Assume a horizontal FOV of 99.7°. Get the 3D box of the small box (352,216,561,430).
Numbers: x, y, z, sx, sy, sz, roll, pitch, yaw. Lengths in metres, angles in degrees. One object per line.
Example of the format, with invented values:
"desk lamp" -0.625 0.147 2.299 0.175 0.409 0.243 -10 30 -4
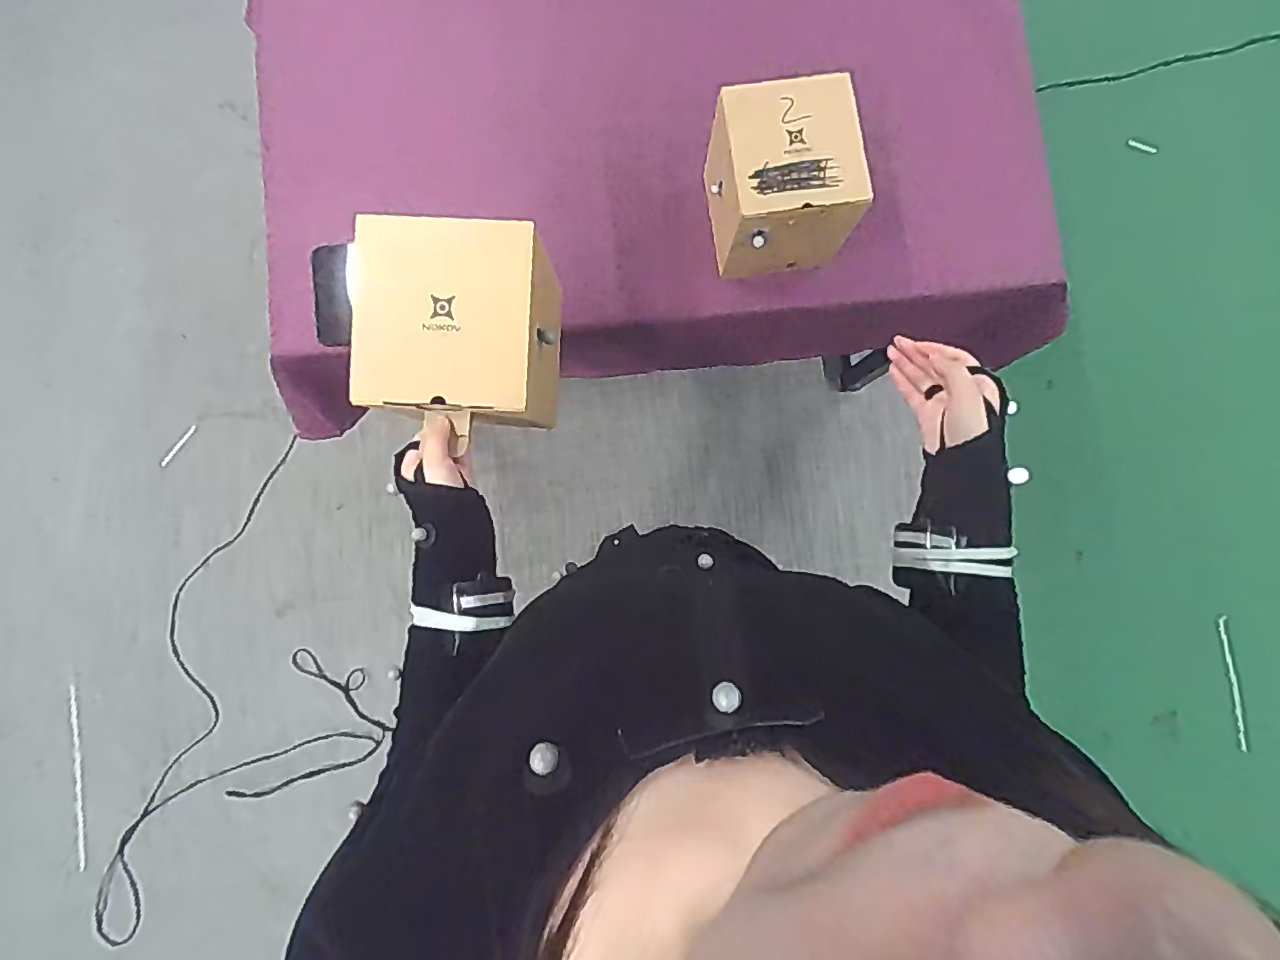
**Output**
"small box" -0.178 -0.151 0.575 0.168 0.176 0.179 3 91 -1
